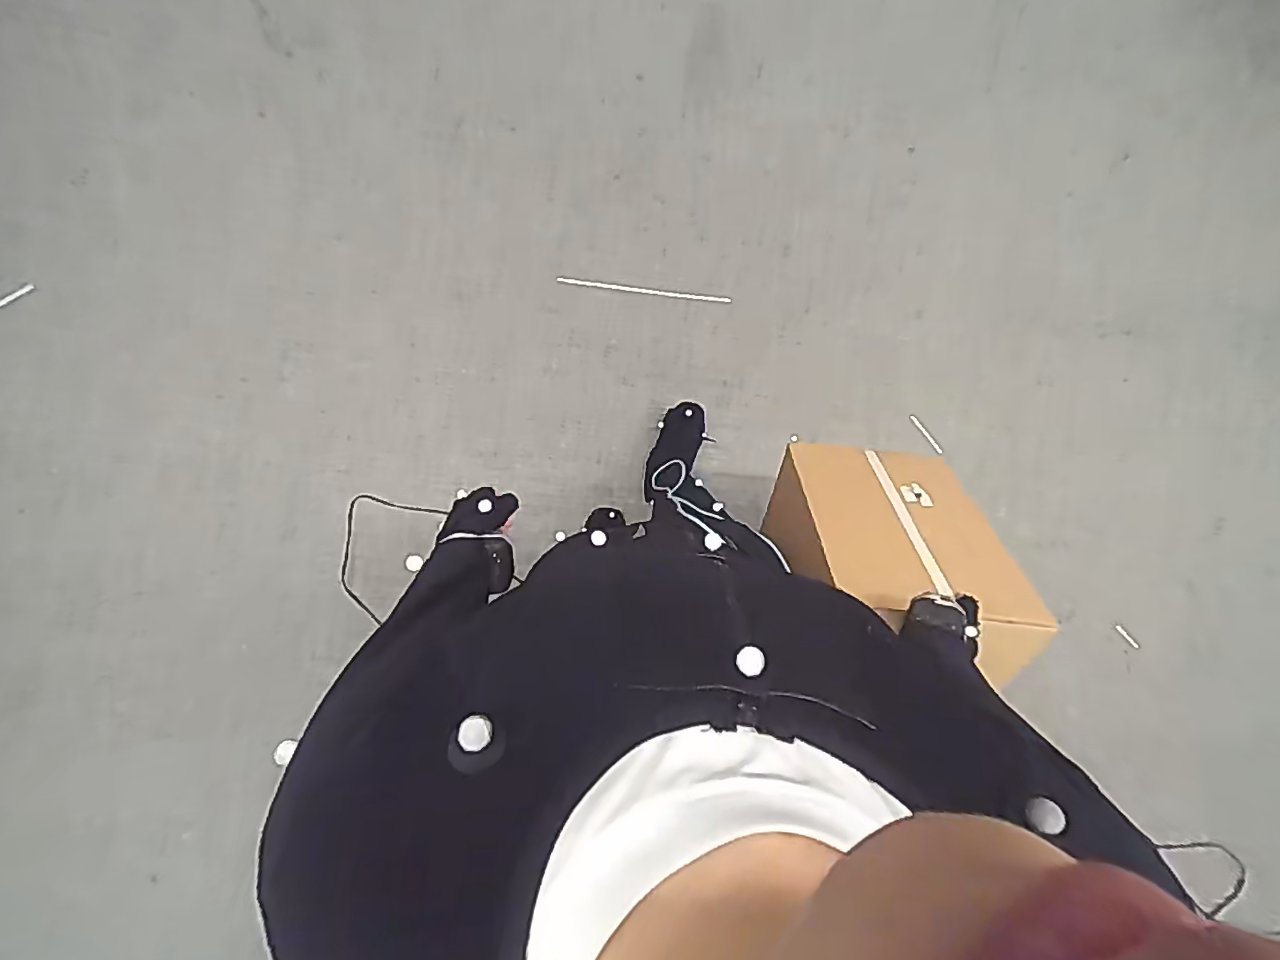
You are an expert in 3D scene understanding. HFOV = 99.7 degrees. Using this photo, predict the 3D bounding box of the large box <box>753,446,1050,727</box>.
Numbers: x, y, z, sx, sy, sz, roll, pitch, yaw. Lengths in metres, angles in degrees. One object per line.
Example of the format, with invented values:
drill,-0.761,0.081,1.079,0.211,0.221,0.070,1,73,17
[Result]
large box,0.419,0.186,0.999,0.320,0.408,0.320,7,127,-3
